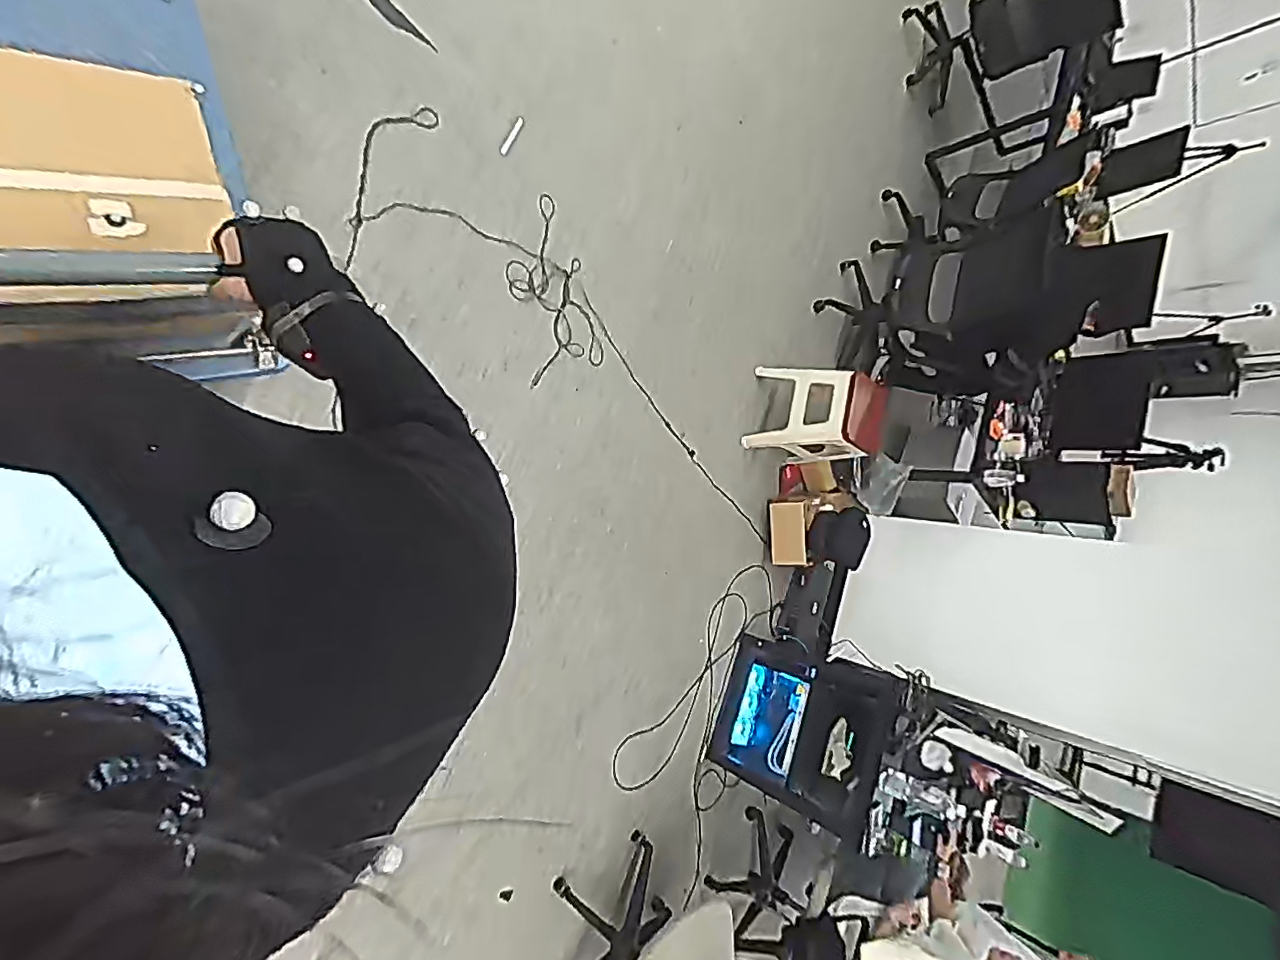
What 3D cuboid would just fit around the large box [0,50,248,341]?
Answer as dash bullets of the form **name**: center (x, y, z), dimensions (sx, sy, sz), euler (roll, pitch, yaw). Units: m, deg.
- **large box**: center (-0.888, -0.393, 0.805), dimensions (0.408, 0.320, 0.320), euler (-19, 106, -41)
